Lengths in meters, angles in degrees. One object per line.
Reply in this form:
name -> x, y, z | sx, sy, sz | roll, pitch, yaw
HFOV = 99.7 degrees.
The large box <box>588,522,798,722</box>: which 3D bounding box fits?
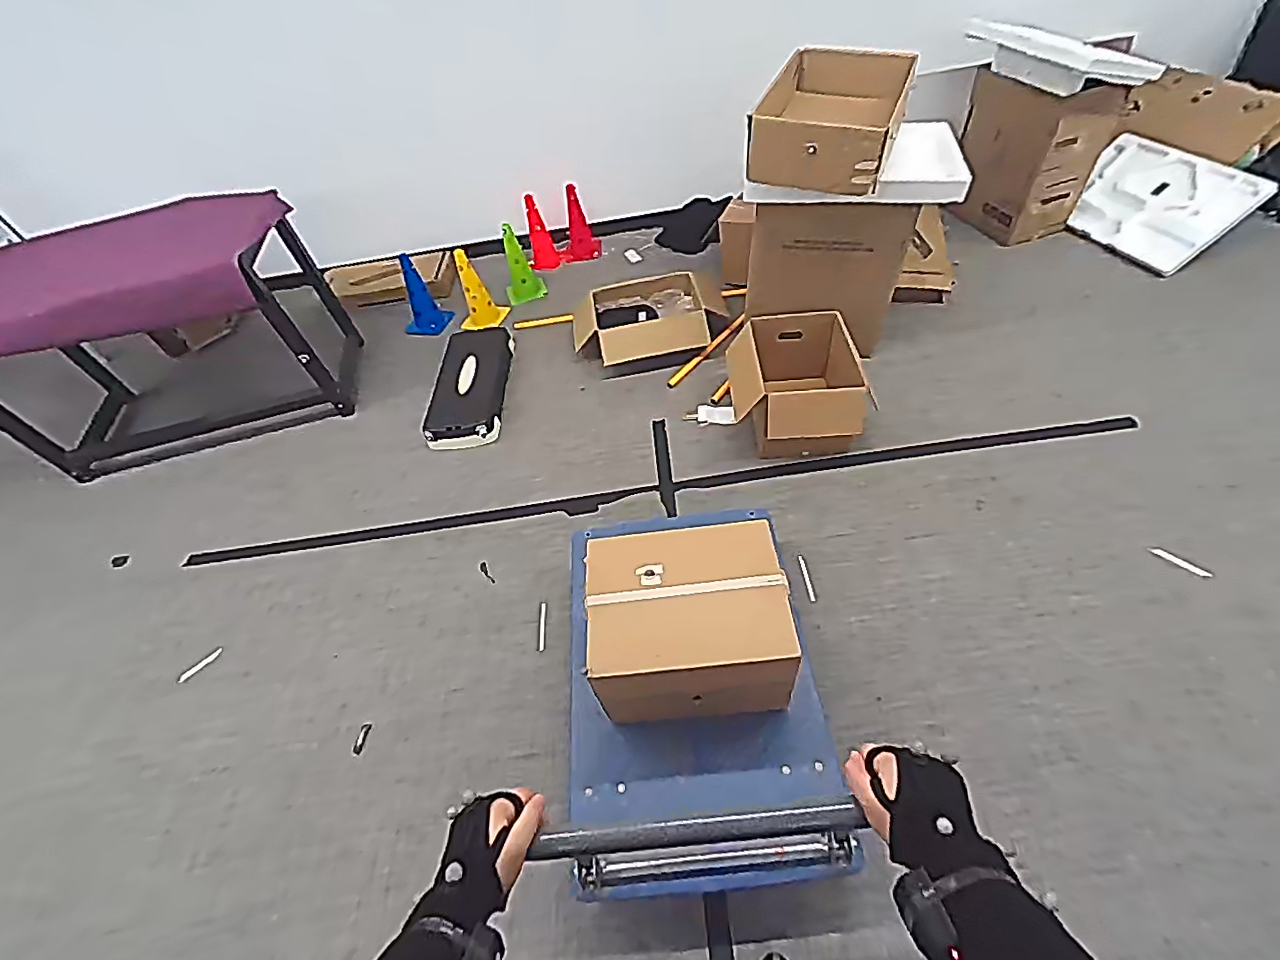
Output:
large box -> 0.112, 0.331, 1.229 | 0.408, 0.320, 0.320 | -8, 49, 4
